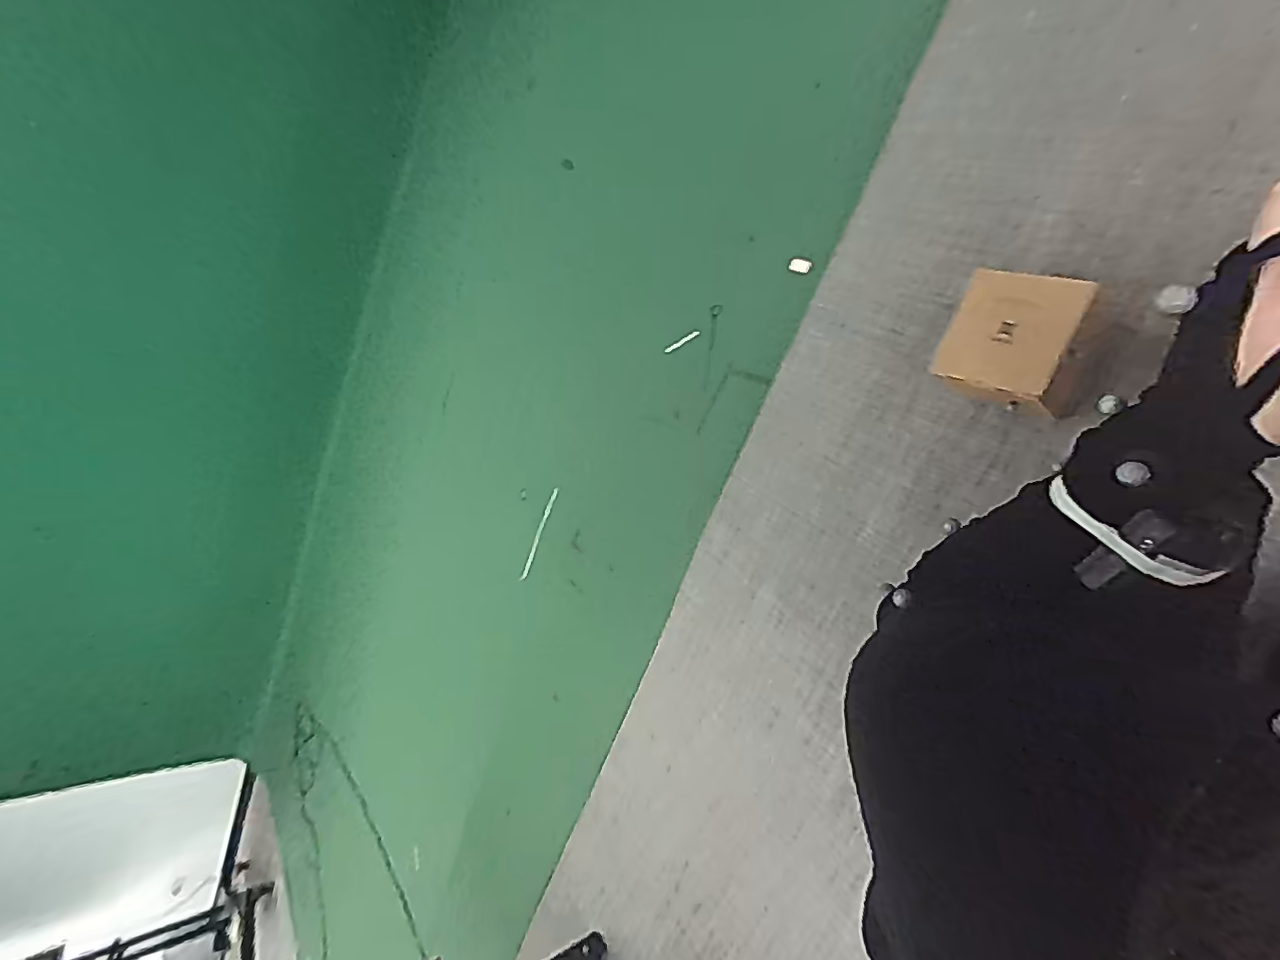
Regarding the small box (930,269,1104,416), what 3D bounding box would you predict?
[{"bbox_3d":[0.619,-0.219,0.884,0.168,0.176,0.179,33,106,42],"label":"small box"}]
